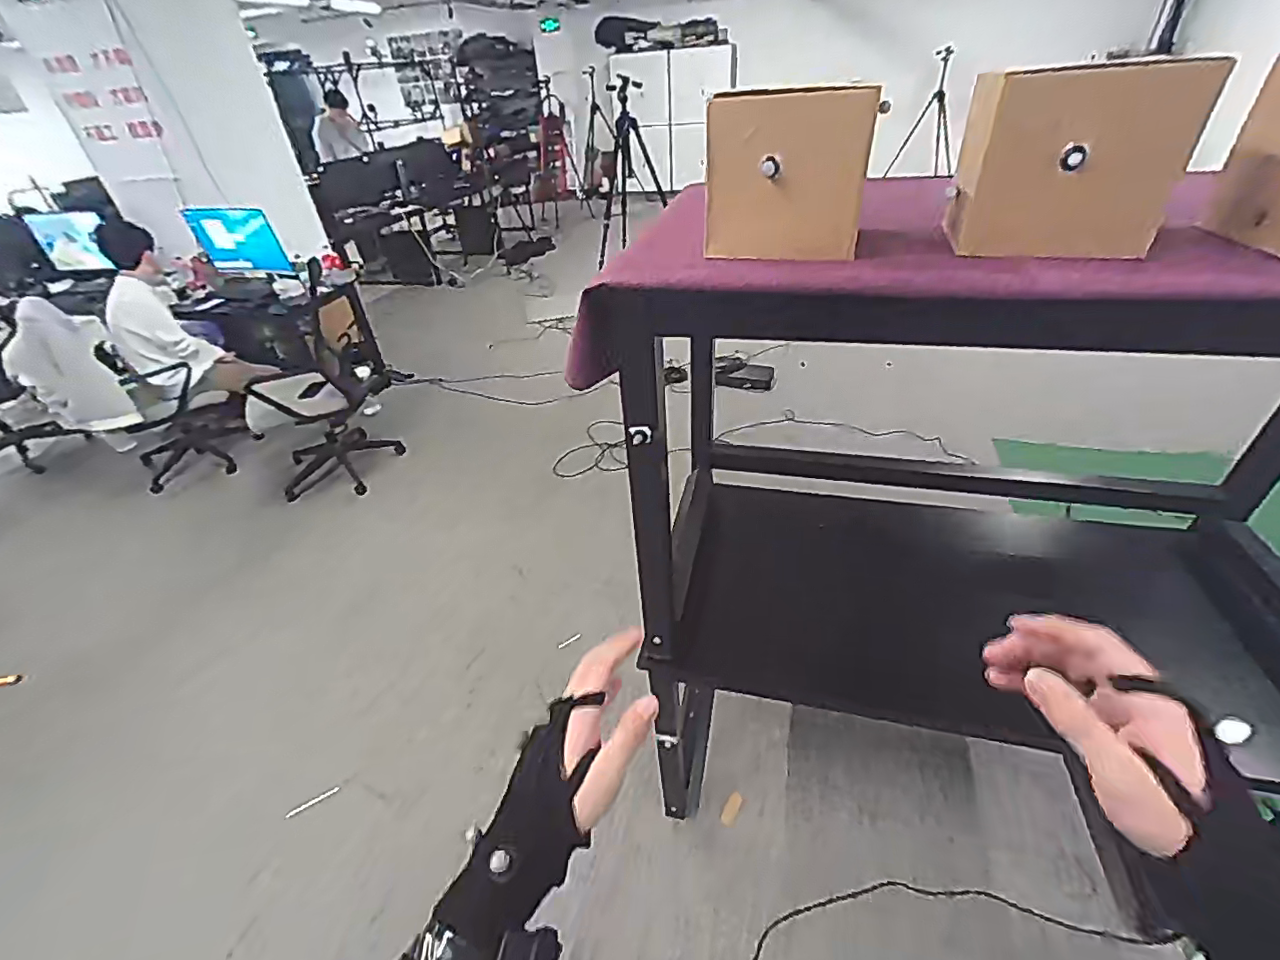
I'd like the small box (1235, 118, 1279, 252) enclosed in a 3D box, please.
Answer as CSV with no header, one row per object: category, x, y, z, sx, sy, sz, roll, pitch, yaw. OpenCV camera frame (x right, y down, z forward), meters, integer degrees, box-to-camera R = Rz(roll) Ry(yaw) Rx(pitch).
small box,0.714,-0.296,0.489,0.179,0.176,0.168,8,39,15

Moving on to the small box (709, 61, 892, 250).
small box,0.182,-0.376,0.630,0.179,0.176,0.168,9,40,16

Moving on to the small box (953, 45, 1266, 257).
small box,0.453,-0.340,0.563,0.179,0.176,0.168,10,39,18
